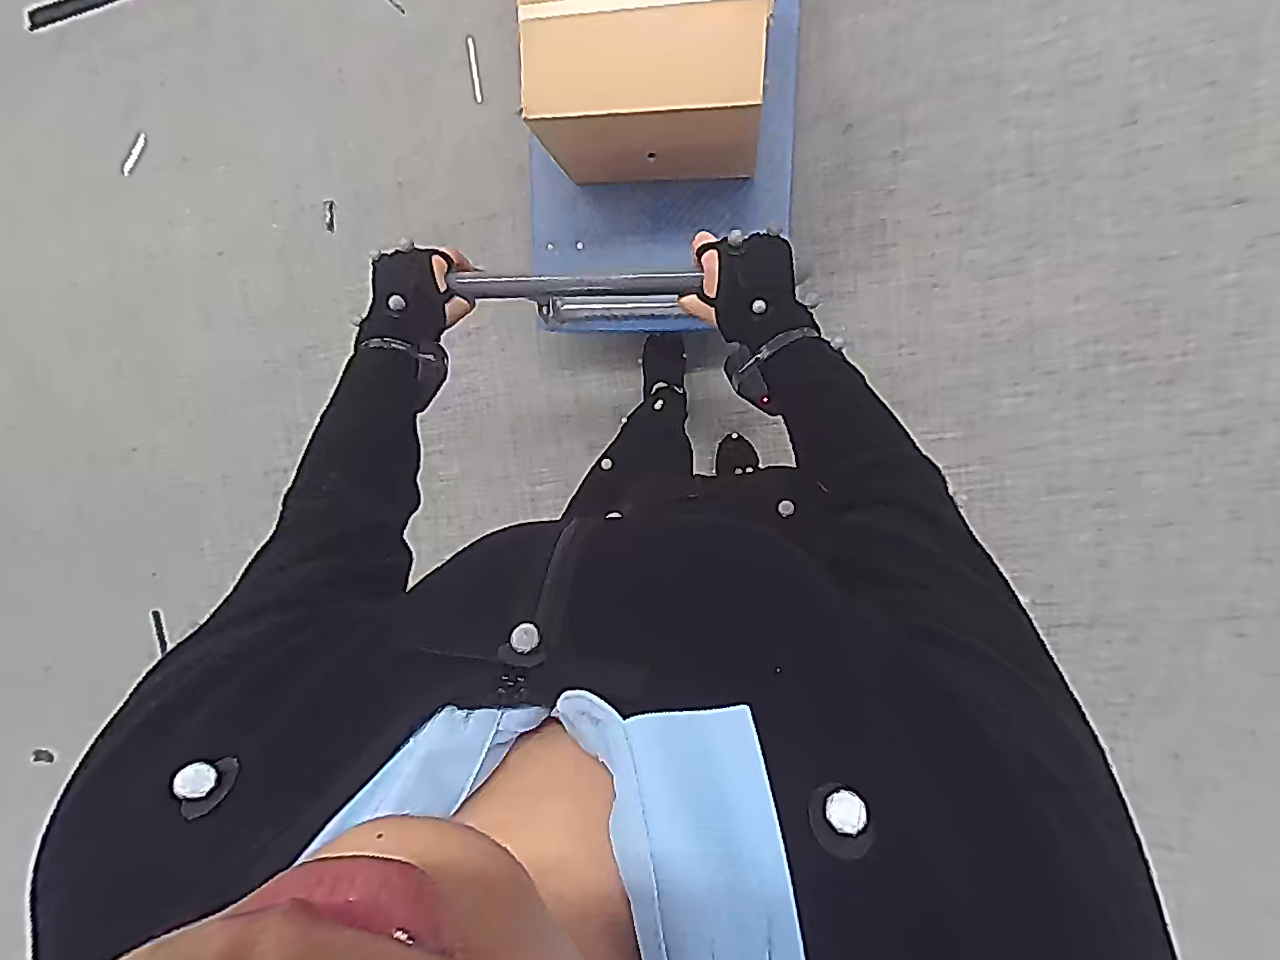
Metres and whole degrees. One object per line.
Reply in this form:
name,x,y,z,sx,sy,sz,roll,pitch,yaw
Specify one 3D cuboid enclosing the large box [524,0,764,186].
large box,0.026,-0.785,1.029,0.408,0.320,0.320,3,99,10
